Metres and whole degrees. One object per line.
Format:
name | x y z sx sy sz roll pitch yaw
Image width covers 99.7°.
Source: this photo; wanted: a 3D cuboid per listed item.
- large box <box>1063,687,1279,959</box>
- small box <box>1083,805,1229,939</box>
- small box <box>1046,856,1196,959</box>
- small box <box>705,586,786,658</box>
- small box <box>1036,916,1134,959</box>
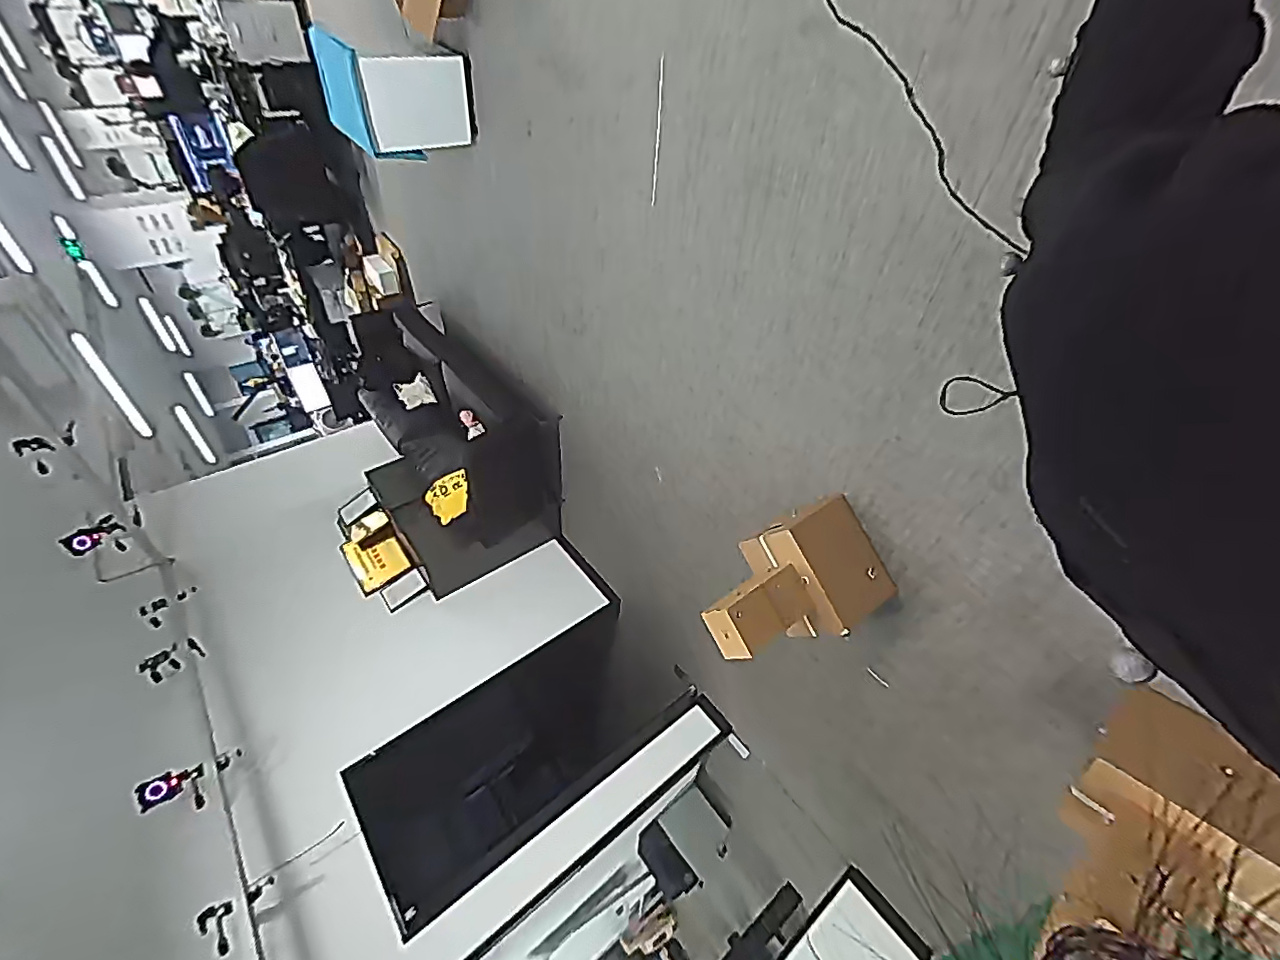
large box | 1.353 0.796 1.305 0.408 0.320 0.320 30 138 43
small box | 1.144 0.881 1.206 0.179 0.176 0.168 35 139 41
small box | 1.010 0.943 1.136 0.168 0.176 0.179 36 140 40
small box | 0.357 0.478 1.818 0.179 0.176 0.168 62 151 6
small box | 0.883 1.010 1.054 0.168 0.176 0.179 36 138 41
